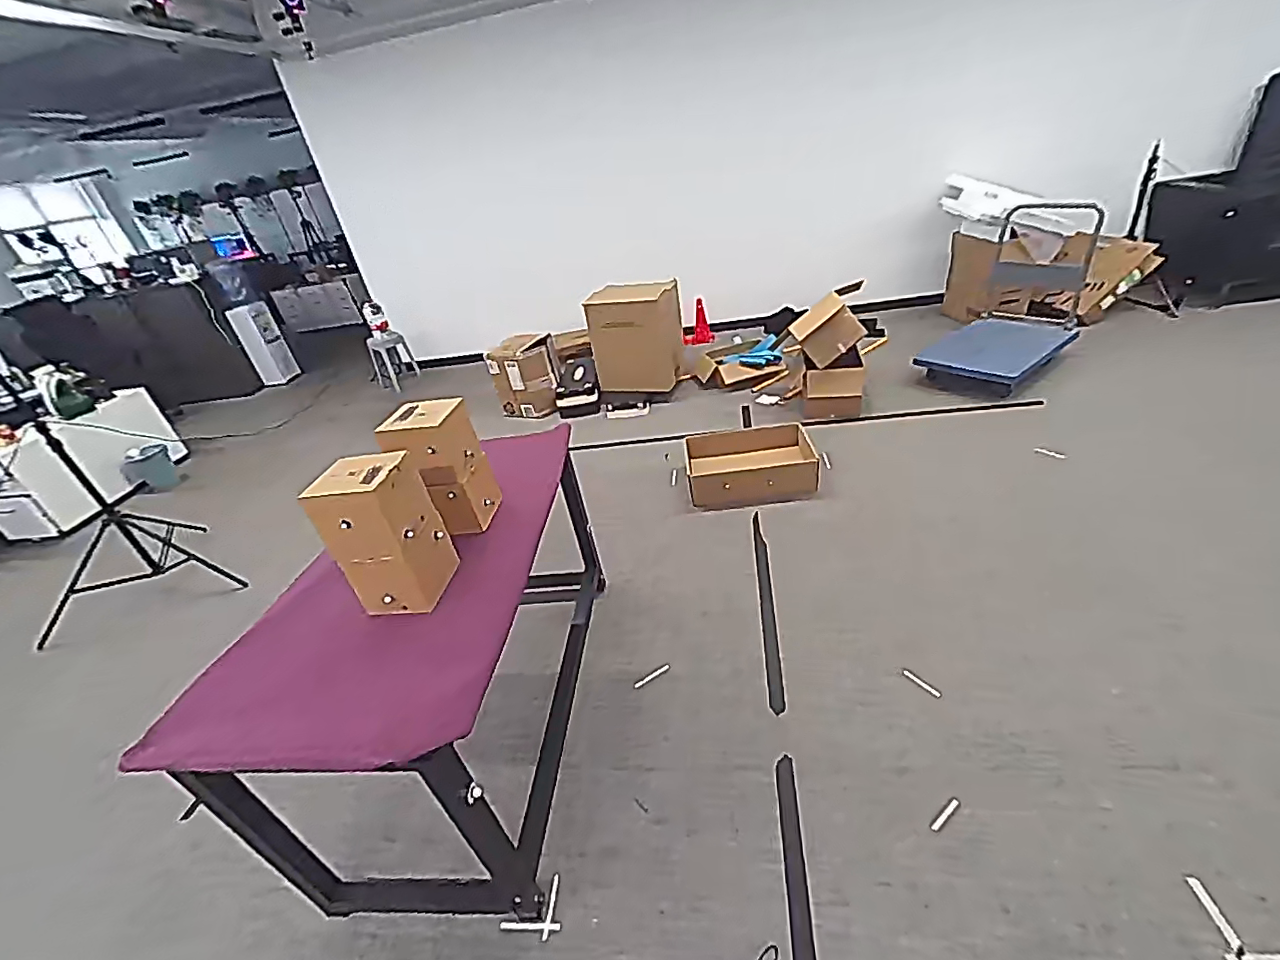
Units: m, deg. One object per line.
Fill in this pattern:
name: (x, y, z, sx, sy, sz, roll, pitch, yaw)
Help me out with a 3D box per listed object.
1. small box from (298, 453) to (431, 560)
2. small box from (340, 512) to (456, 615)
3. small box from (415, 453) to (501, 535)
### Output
small box: (-0.592, 0.060, 1.194, 0.179, 0.176, 0.168, -6, 31, 9)
small box: (-0.558, 0.197, 1.278, 0.168, 0.176, 0.179, -5, 32, 11)
small box: (-0.516, 0.043, 1.511, 0.179, 0.176, 0.168, -5, 32, 10)
